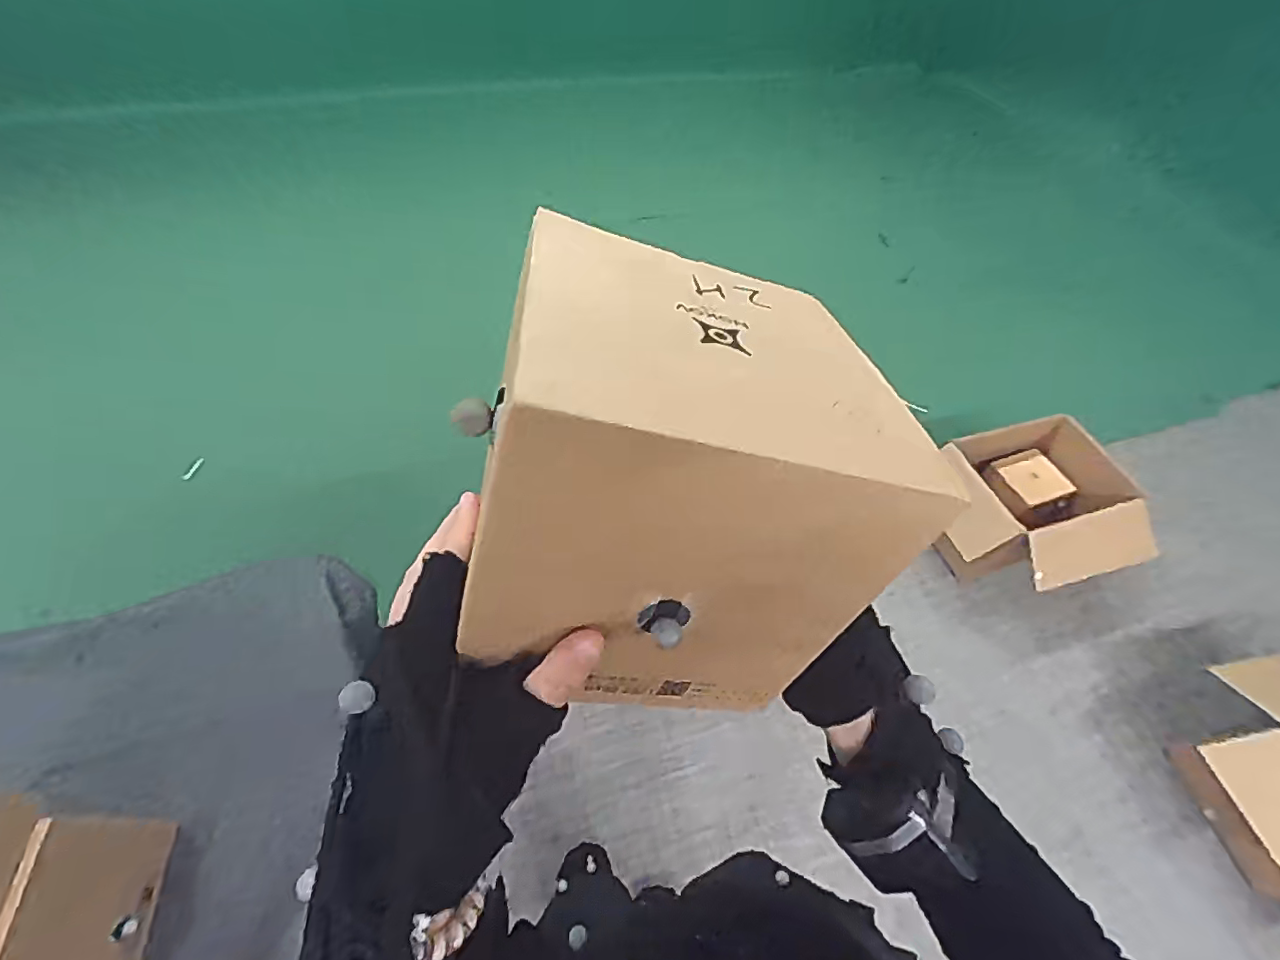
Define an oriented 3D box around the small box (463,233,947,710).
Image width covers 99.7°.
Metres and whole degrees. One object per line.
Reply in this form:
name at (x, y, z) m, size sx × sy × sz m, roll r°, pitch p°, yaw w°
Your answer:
small box at (0.006, 0.001, 0.288) m, size 0.168 × 0.176 × 0.179 m, roll 11°, pitch 40°, yaw -15°
